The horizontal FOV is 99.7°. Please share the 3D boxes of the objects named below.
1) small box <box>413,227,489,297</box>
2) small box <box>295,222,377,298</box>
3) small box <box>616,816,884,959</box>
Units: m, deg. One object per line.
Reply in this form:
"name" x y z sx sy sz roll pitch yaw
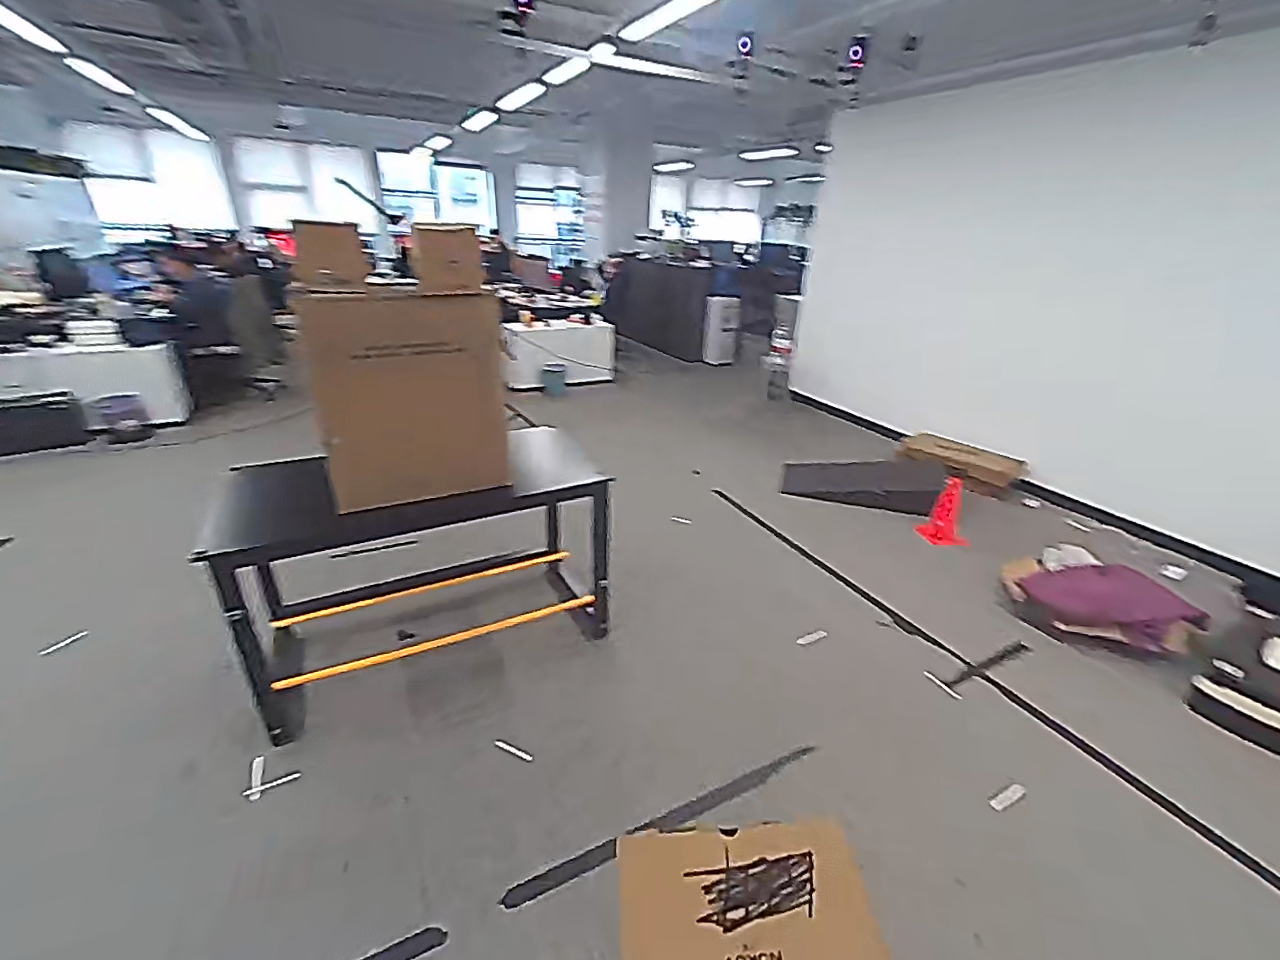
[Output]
"small box" -0.532 -0.613 1.523 0.168 0.176 0.179 -12 31 -25
"small box" -0.806 -0.588 1.440 0.168 0.176 0.179 -10 29 -26
"small box" 0.069 0.368 0.369 0.168 0.176 0.179 -3 33 -5
